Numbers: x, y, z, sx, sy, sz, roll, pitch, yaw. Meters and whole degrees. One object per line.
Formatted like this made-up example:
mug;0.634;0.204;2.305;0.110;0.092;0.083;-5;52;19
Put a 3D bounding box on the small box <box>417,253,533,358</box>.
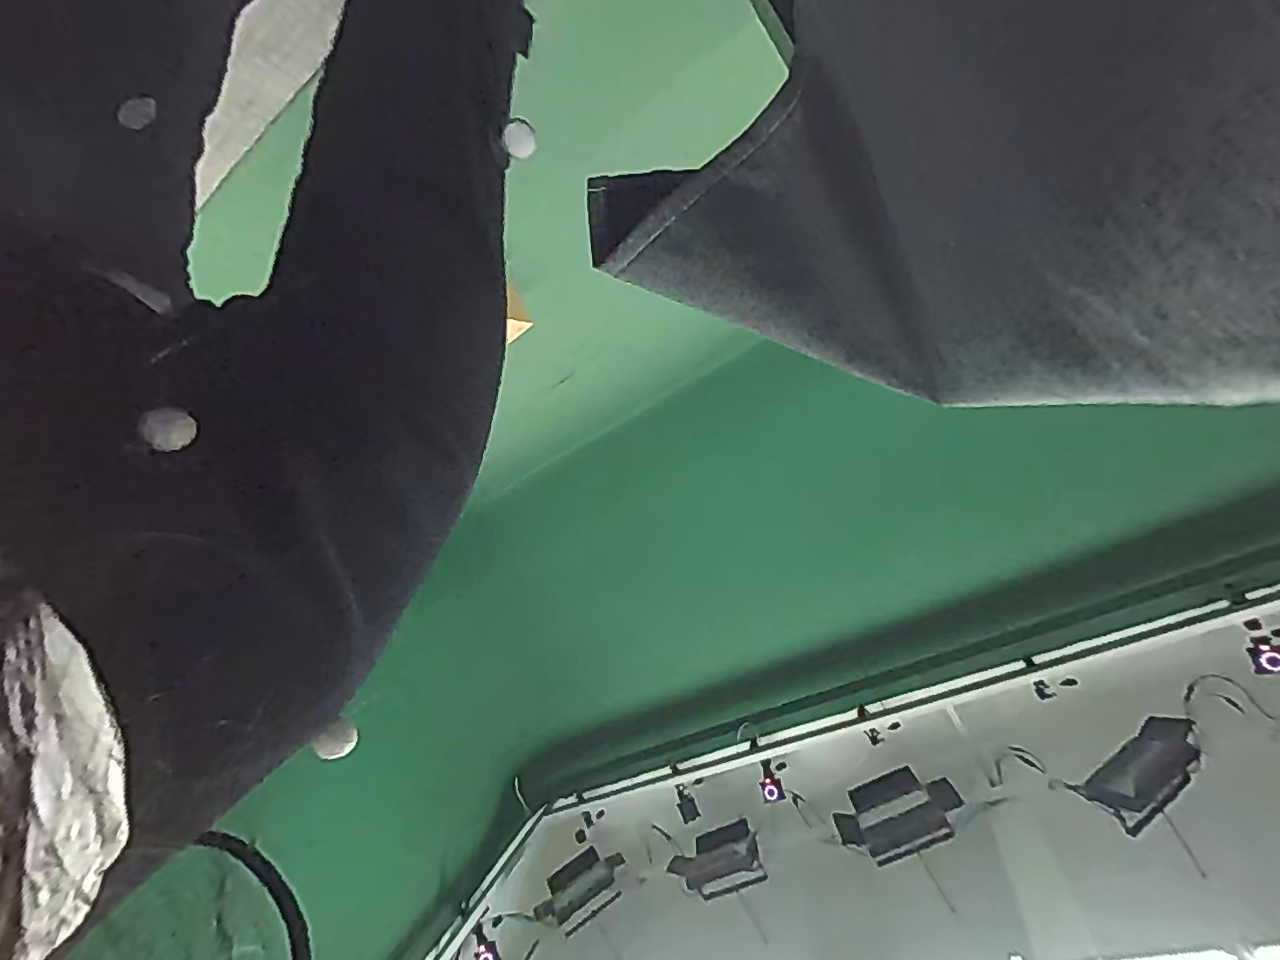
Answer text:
small box;-0.399;-0.418;1.308;0.168;0.176;0.179;-29;176;23
